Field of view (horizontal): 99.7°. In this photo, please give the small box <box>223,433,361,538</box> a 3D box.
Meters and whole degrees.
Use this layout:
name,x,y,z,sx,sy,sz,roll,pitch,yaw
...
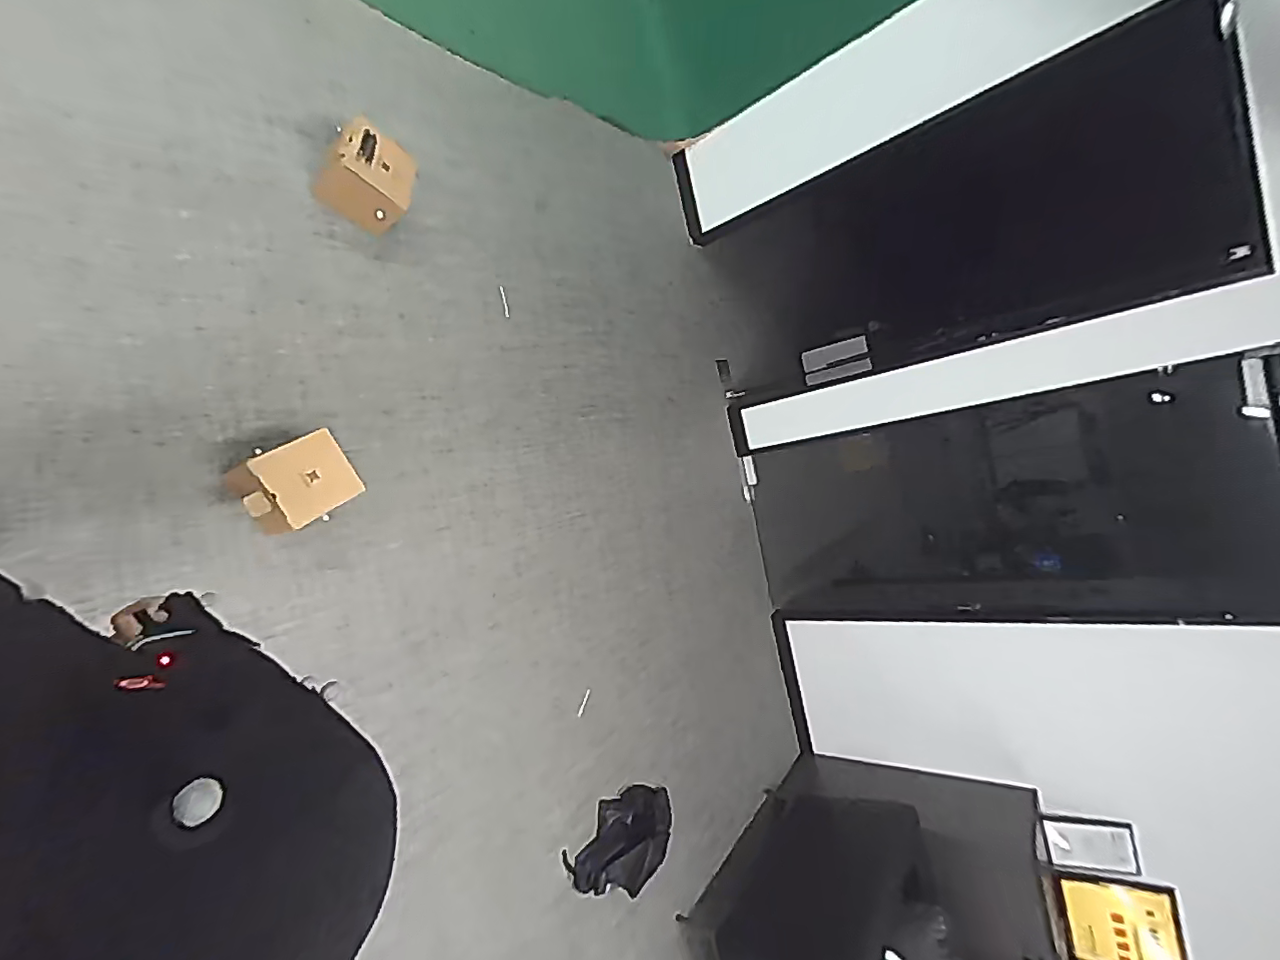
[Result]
name,x,y,z,sx,sy,sz,roll,pitch,yaw
small box,-0.776,0.015,1.207,0.179,0.176,0.168,-45,117,-46
